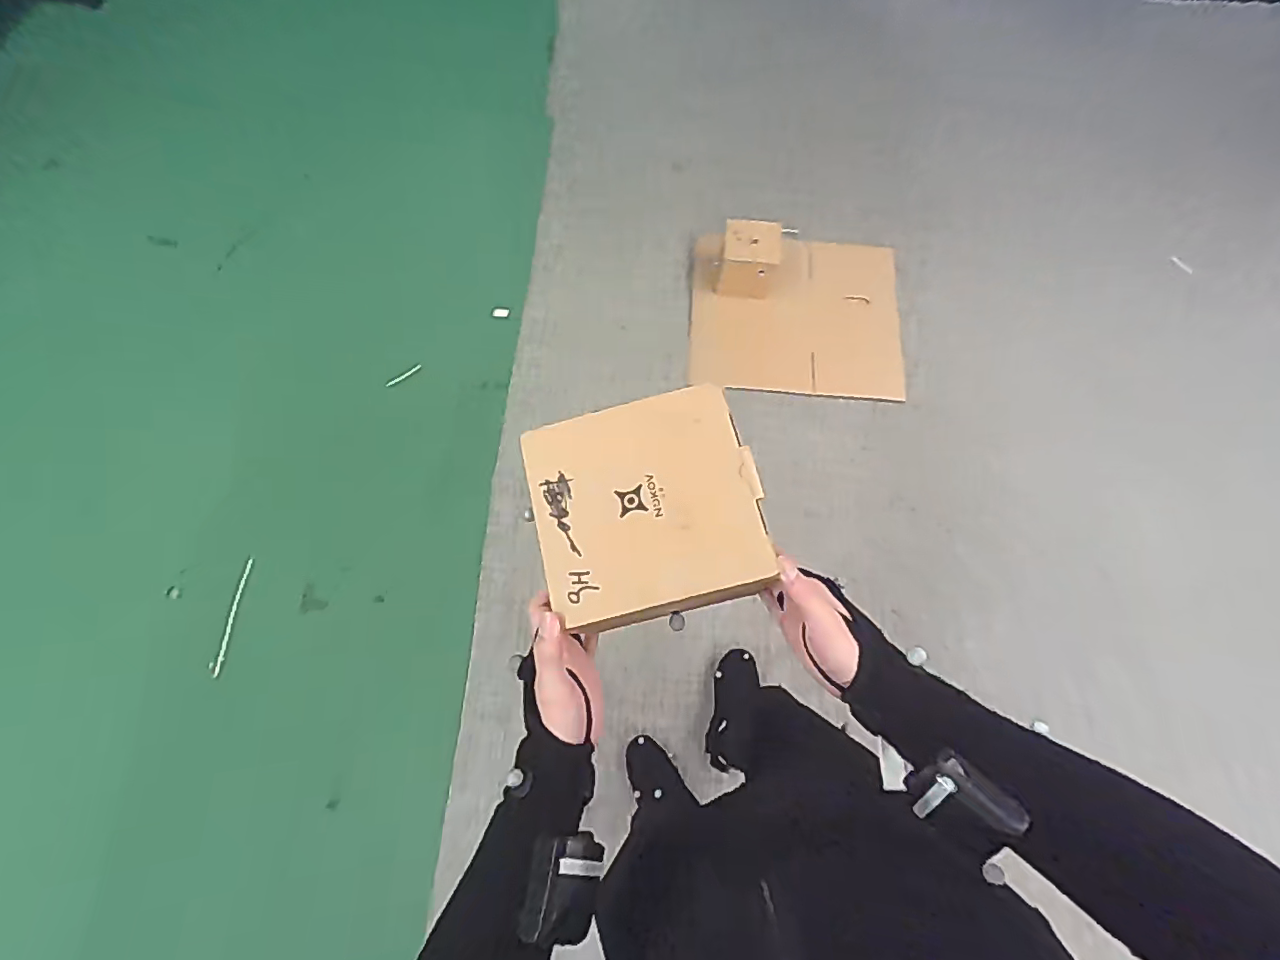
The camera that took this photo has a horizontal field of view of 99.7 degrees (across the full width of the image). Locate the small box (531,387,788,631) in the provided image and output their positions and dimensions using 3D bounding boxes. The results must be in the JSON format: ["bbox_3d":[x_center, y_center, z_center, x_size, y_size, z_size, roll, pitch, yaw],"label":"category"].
[{"bbox_3d":[0.016,0.039,0.500,0.179,0.176,0.168,-13,72,1],"label":"small box"}]

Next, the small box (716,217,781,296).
[{"bbox_3d":[0.350,-0.723,1.764,0.179,0.176,0.168,6,70,2],"label":"small box"}]
